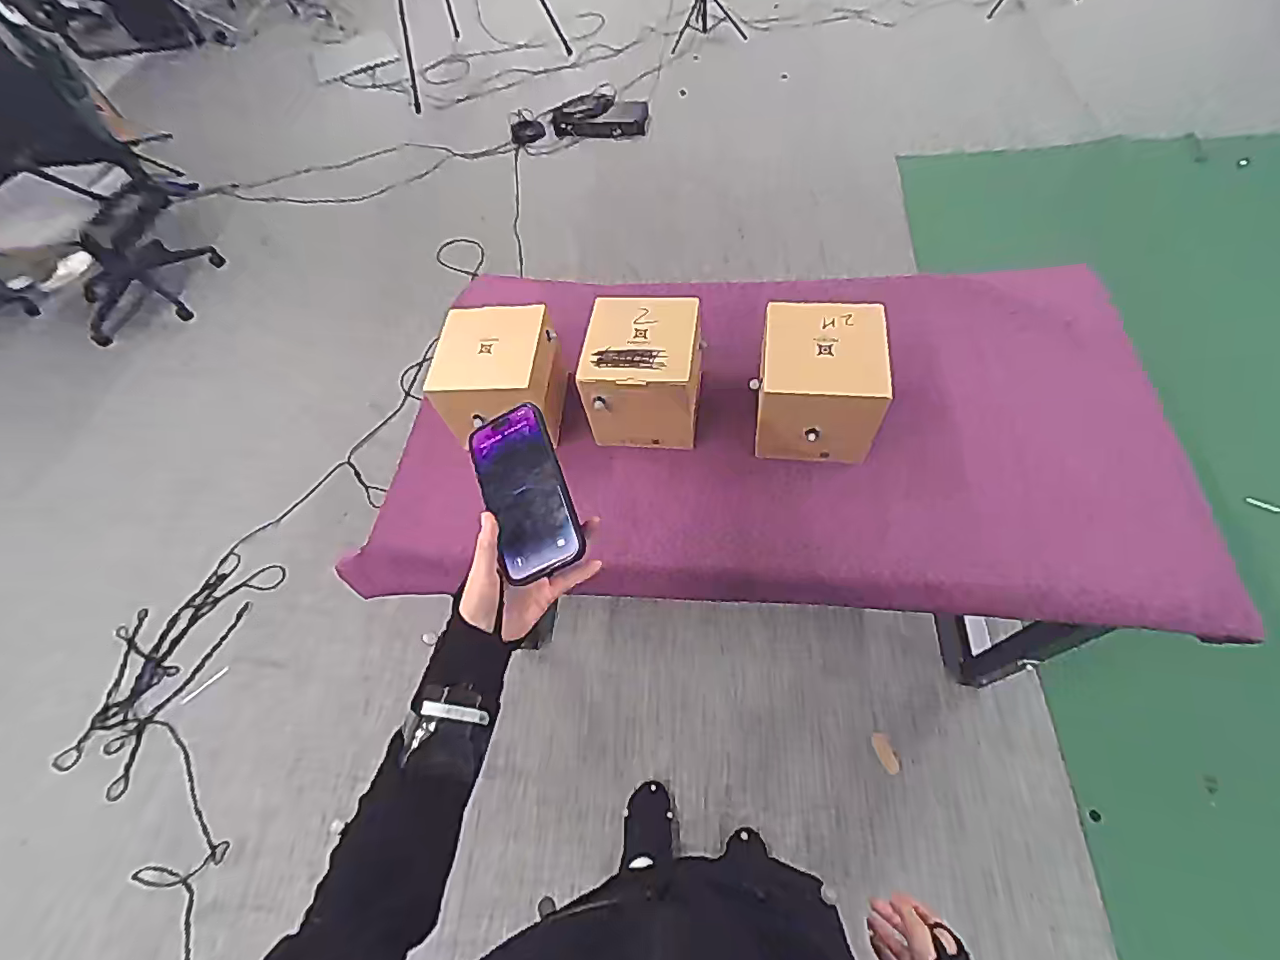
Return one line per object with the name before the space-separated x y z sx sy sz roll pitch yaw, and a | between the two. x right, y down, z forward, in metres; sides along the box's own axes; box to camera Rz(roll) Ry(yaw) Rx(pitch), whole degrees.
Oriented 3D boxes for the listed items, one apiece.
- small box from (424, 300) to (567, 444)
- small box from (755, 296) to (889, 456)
small box | -0.227 -0.171 0.900 0.168 0.176 0.179 -1 59 8
small box | 0.267 -0.153 0.819 0.168 0.176 0.179 5 60 10
